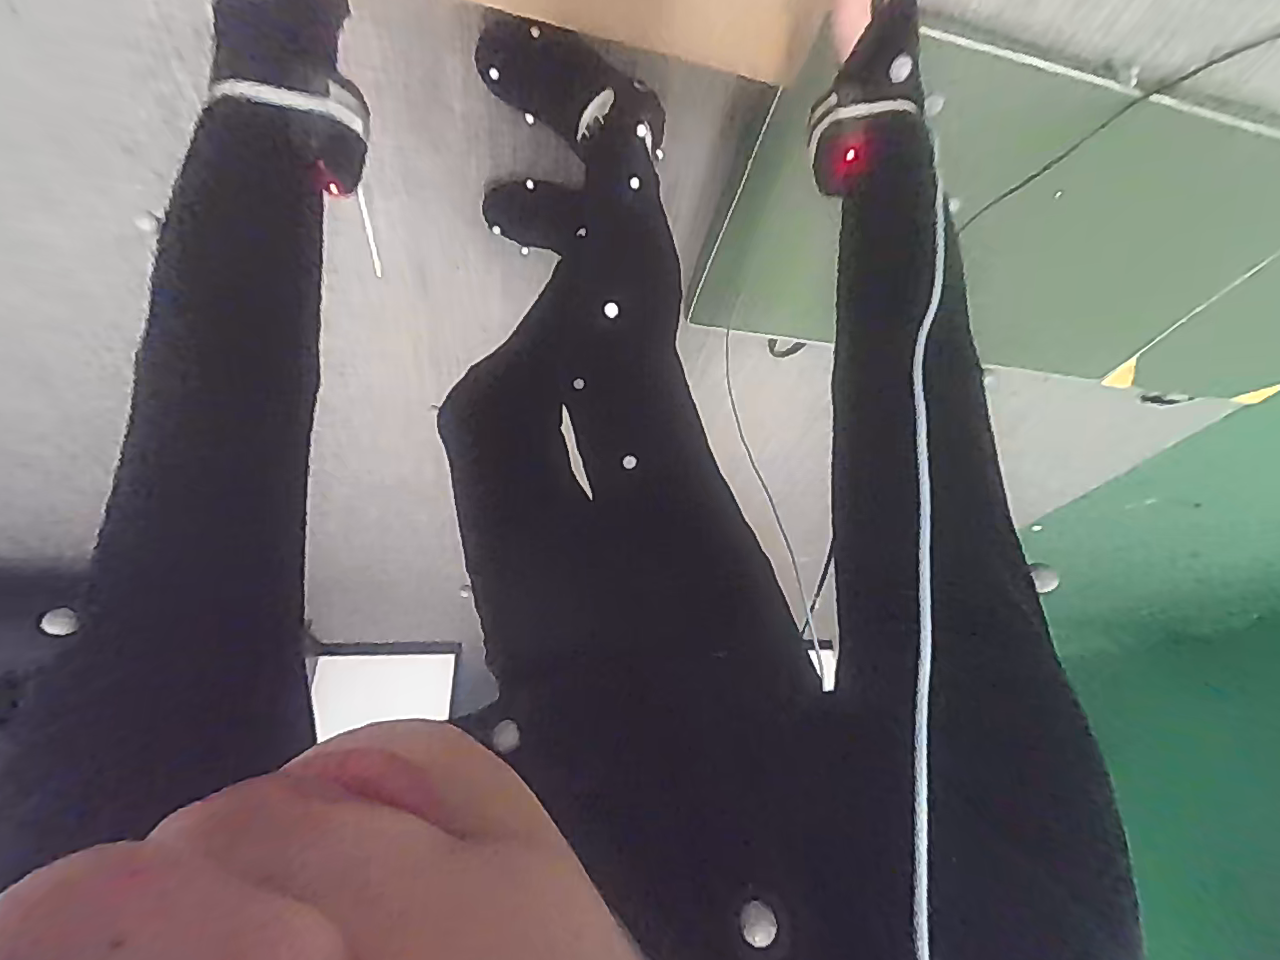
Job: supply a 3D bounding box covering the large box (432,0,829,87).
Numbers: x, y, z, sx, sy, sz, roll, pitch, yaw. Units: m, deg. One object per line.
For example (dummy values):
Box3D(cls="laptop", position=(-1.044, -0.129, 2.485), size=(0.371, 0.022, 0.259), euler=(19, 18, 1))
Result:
Box3D(cls="large box", position=(-0.001, -0.652, 0.519), size=(0.408, 0.320, 0.320), euler=(4, 144, -15))
